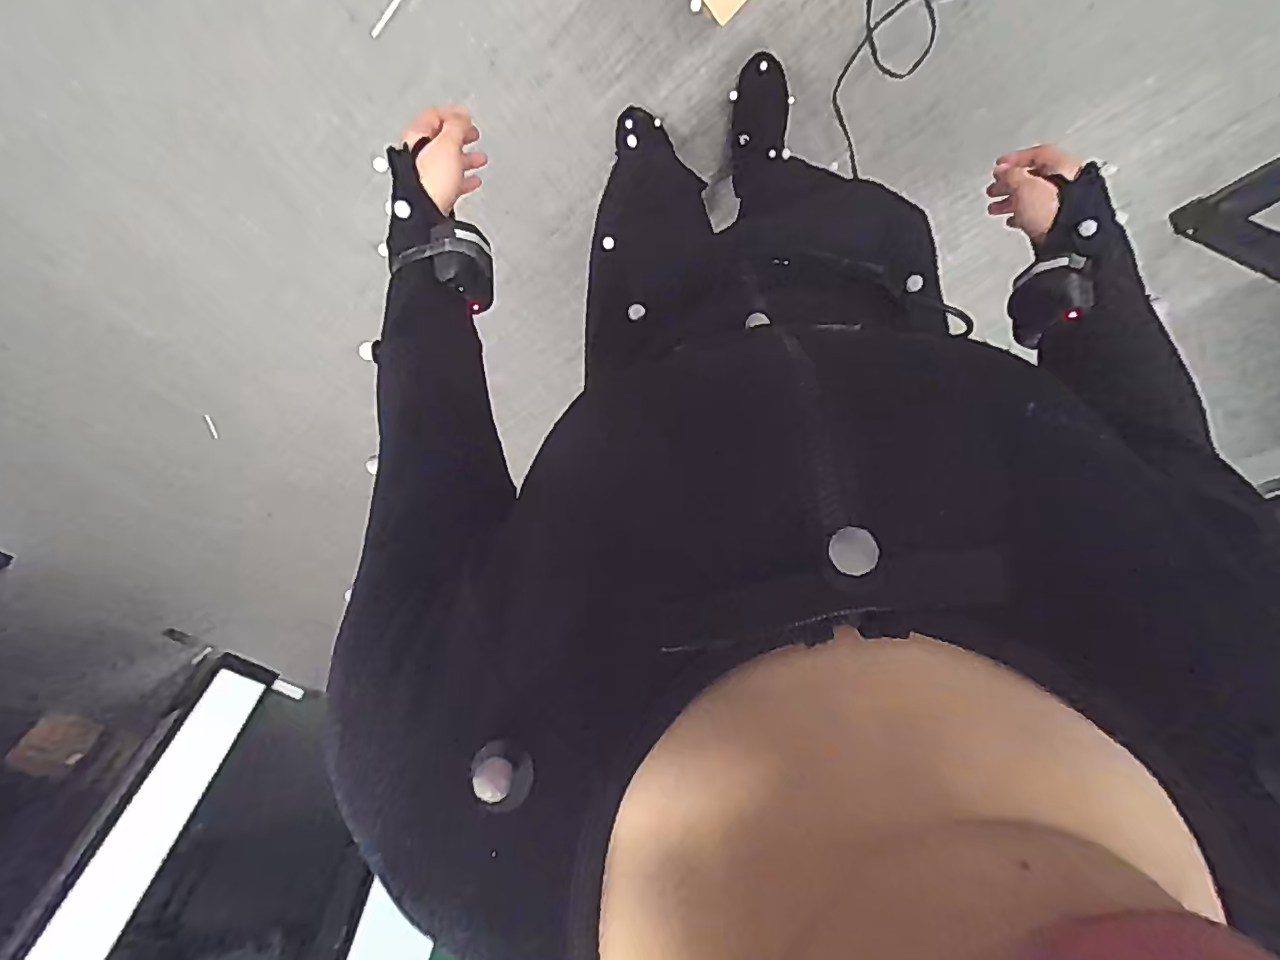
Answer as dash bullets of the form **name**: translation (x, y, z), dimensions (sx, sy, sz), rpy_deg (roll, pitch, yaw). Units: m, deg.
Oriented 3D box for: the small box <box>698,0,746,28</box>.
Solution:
- **small box**: translation (0.120, -0.800, 0.768), dimensions (0.168, 0.176, 0.179), rpy_deg (-34, 121, 30)
